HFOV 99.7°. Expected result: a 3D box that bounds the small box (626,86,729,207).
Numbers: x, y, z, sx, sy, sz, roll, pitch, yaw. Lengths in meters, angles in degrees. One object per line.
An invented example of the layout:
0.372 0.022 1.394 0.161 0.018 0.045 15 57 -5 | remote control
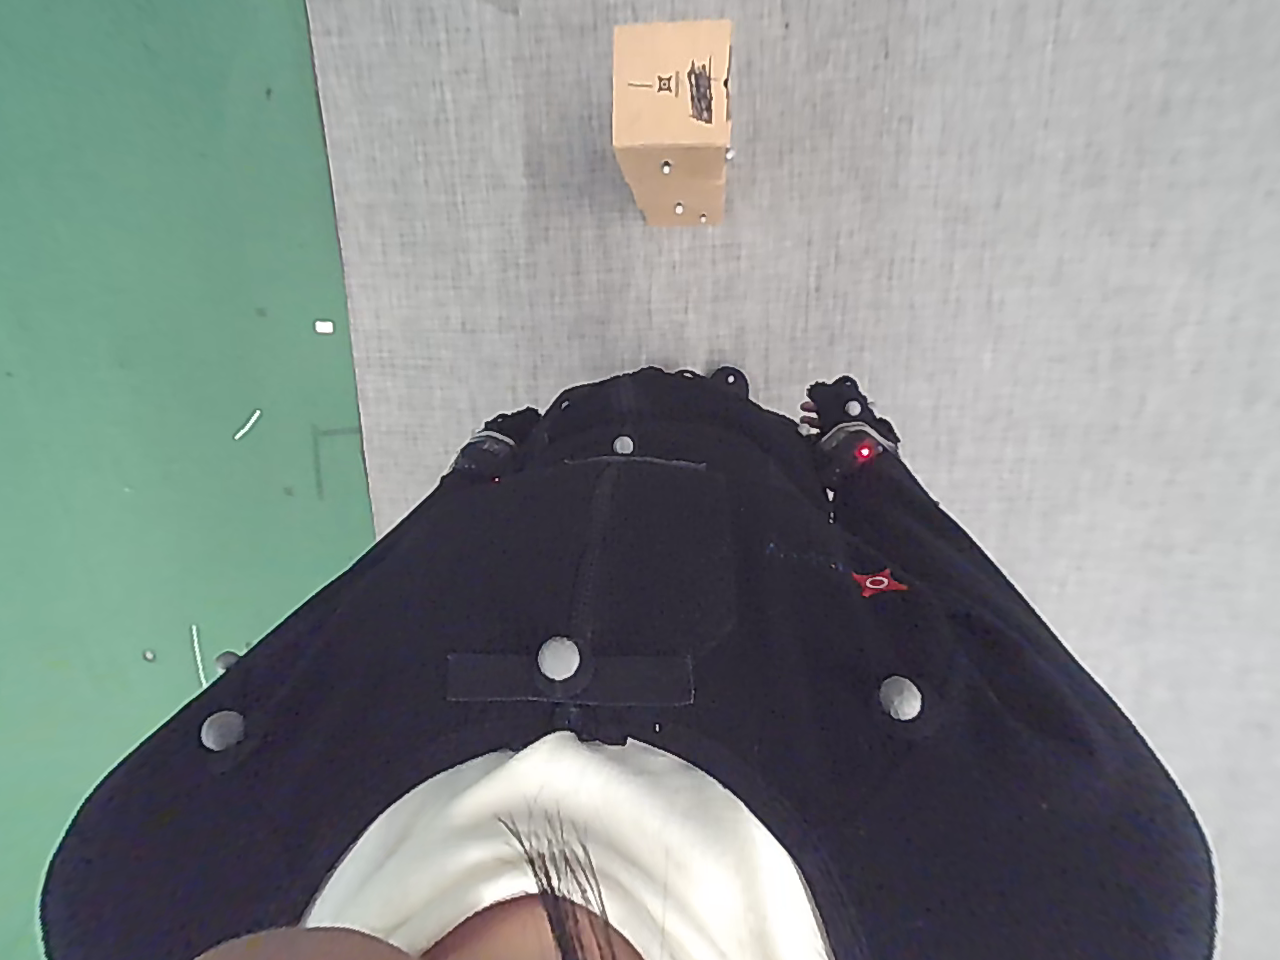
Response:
0.072 -0.640 1.045 0.179 0.176 0.168 5 103 5 | small box

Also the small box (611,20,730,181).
0.051 -0.606 0.885 0.179 0.176 0.168 0 102 5 | small box

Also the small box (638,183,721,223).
0.091 -0.681 1.203 0.179 0.176 0.168 1 102 8 | small box
